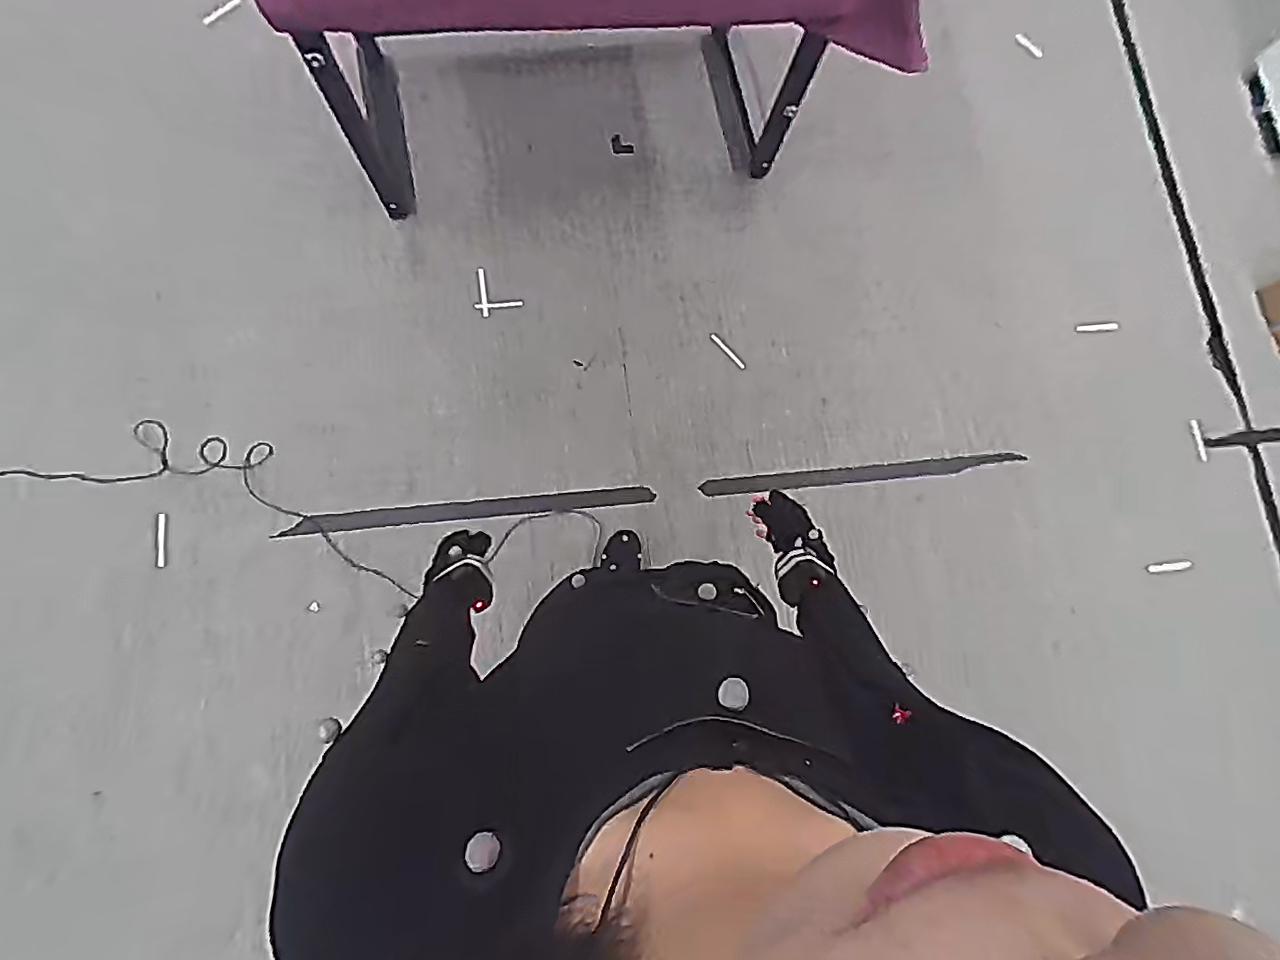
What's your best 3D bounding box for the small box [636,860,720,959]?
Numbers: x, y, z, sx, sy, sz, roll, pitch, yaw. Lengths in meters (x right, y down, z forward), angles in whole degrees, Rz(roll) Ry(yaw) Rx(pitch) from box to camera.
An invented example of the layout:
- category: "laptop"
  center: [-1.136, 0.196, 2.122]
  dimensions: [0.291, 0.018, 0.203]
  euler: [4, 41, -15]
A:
- category: "small box"
  center: [0.087, 1.043, 1.273]
  dimensions: [0.168, 0.176, 0.179]
  euler: [-7, 80, -6]
